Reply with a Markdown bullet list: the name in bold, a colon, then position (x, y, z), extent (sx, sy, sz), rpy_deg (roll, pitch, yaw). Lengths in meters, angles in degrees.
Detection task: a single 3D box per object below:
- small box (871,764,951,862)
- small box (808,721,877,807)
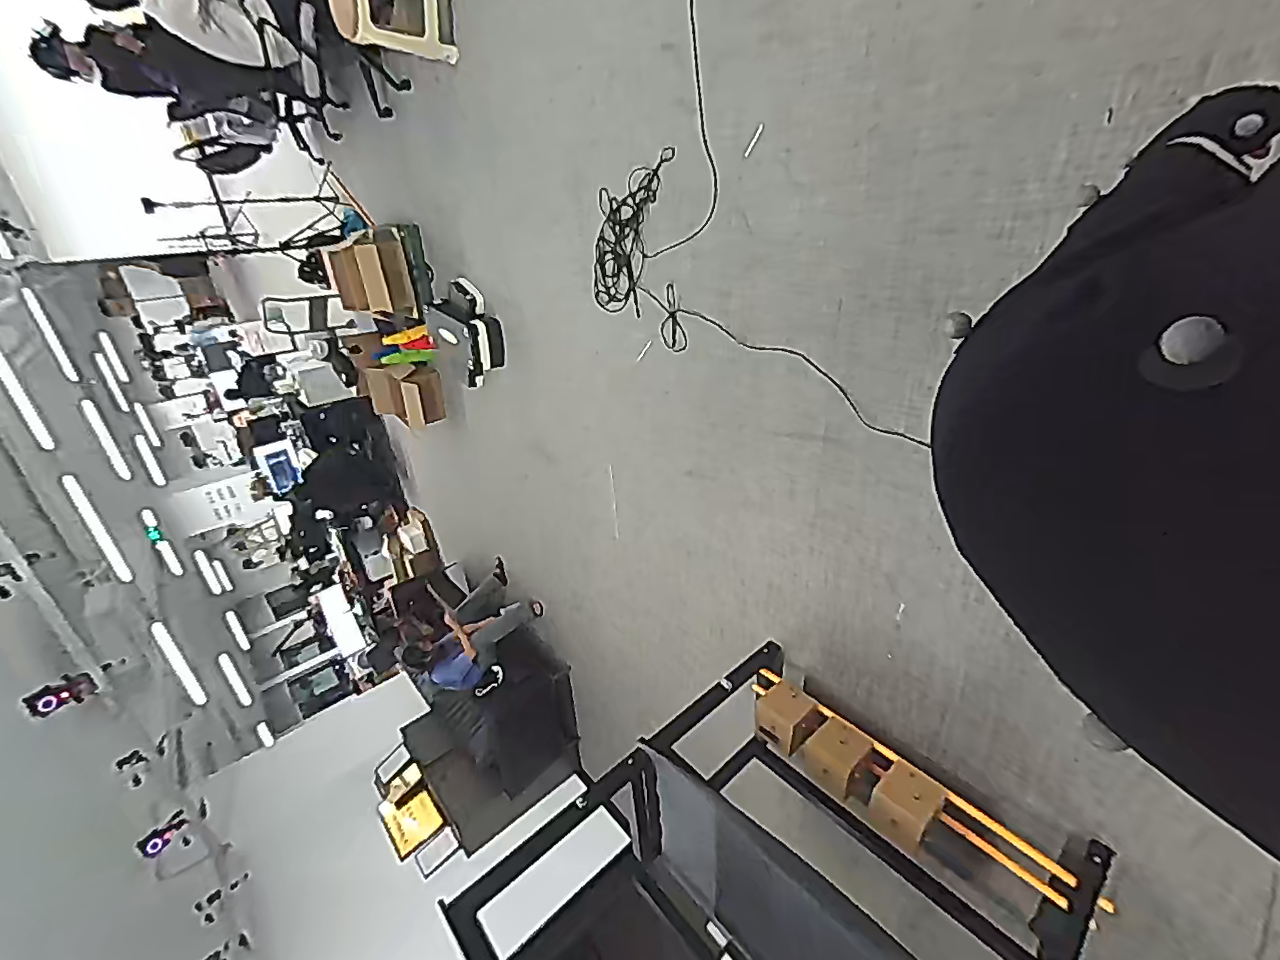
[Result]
- **small box**: position (0.888, 1.079, 1.766), extent (0.168, 0.176, 0.179), rpy_deg (27, 128, 44)
- **small box**: position (0.727, 1.009, 1.938), extent (0.168, 0.176, 0.179), rpy_deg (25, 127, 44)
